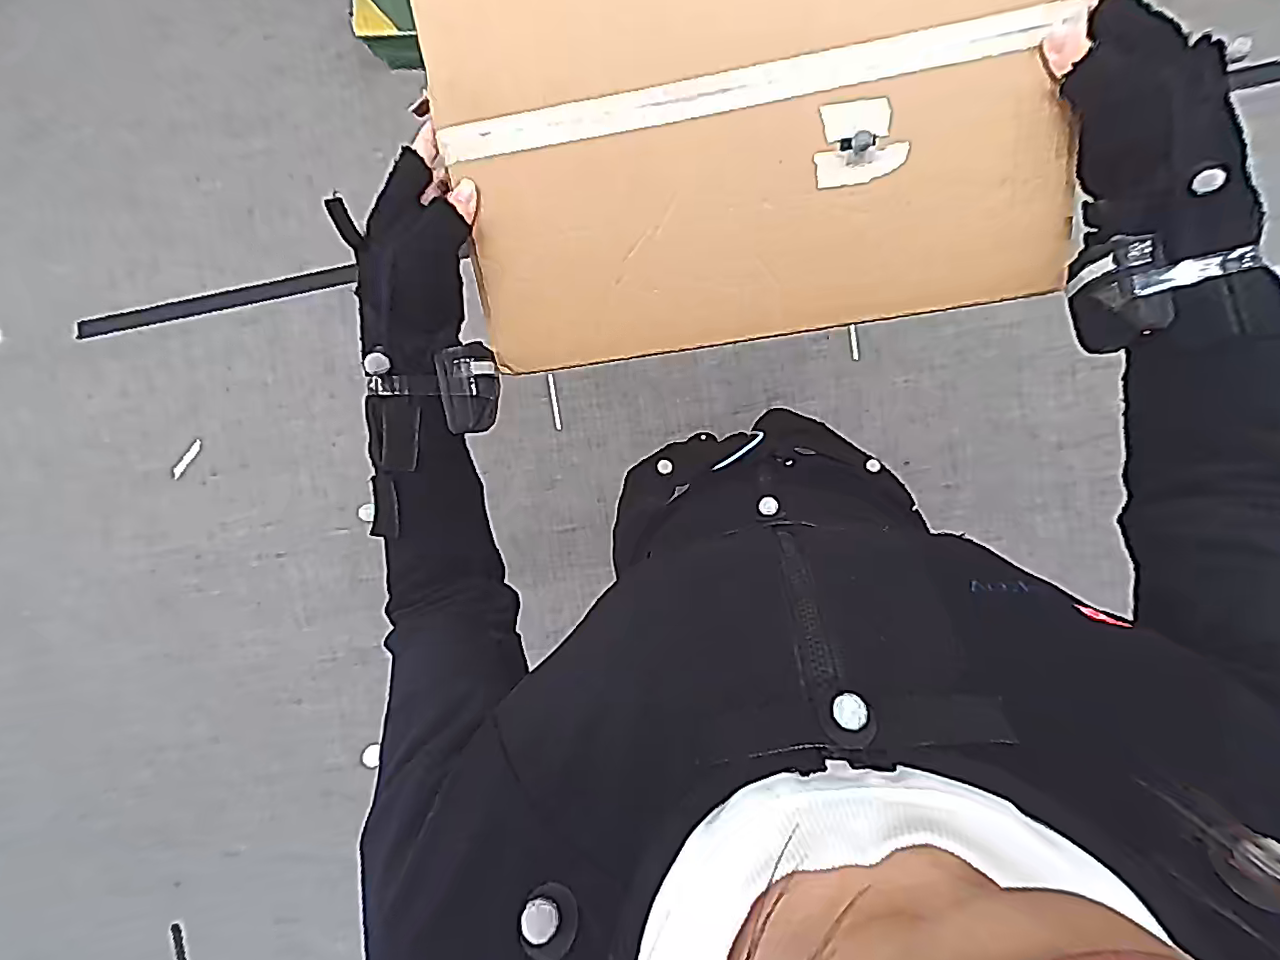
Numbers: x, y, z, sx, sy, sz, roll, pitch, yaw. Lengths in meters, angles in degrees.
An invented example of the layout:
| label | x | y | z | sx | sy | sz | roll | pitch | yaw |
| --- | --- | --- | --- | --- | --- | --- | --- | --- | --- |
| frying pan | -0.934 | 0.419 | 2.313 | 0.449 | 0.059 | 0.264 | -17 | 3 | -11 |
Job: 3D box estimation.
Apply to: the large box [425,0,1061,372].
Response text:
| label | x | y | z | sx | sy | sz | roll | pitch | yaw |
| --- | --- | --- | --- | --- | --- | --- | --- | --- | --- |
| large box | 0.075 | -0.302 | 0.502 | 0.408 | 0.320 | 0.320 | -9 | 108 | 5 |
